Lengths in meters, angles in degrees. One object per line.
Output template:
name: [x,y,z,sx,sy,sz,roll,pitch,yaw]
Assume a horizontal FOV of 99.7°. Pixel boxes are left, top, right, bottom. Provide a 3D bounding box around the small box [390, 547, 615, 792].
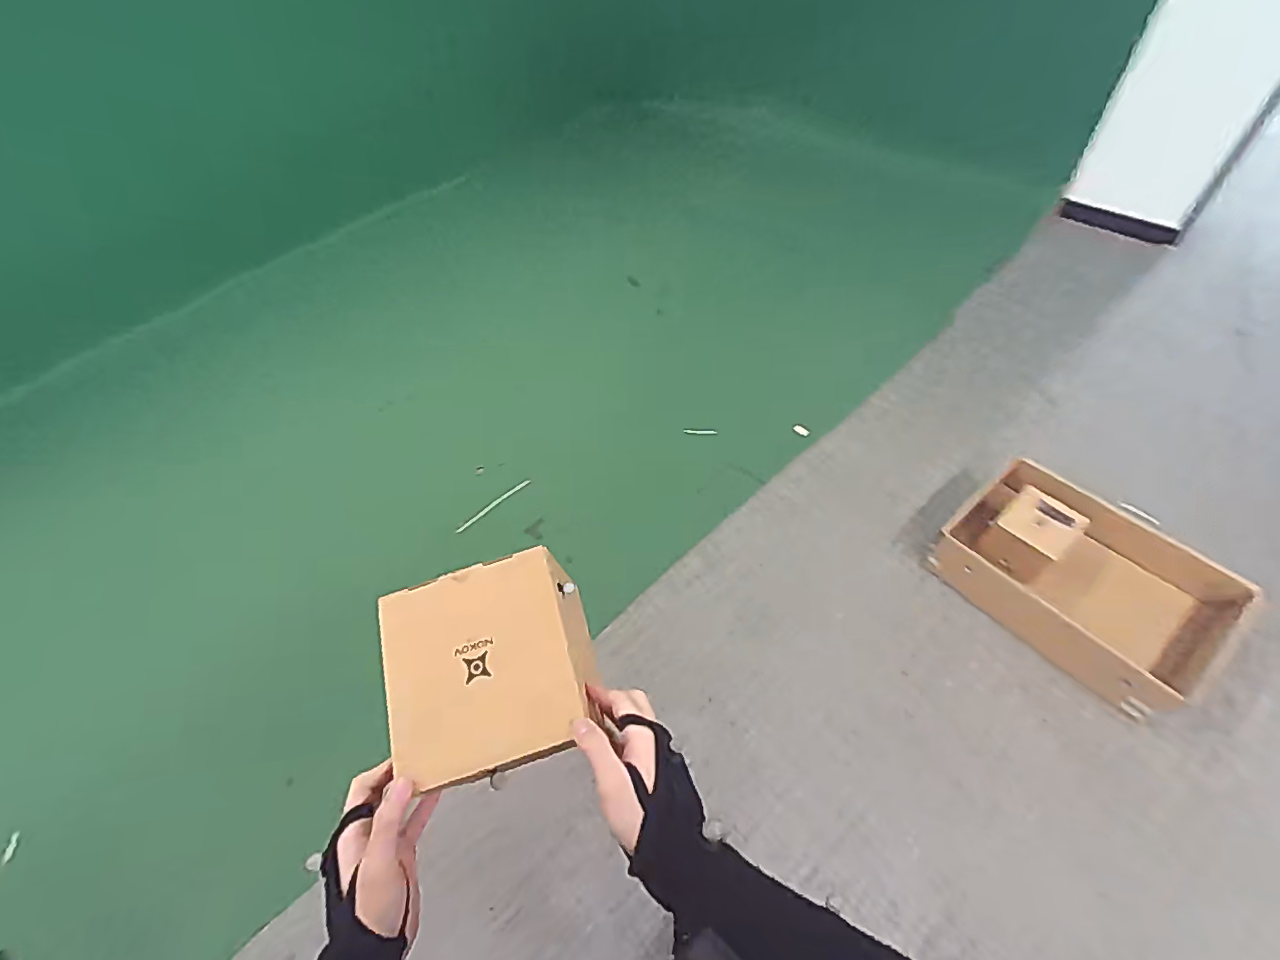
small box: [-0.130,0.194,0.556,0.168,0.176,0.179,-17,64,-3]
